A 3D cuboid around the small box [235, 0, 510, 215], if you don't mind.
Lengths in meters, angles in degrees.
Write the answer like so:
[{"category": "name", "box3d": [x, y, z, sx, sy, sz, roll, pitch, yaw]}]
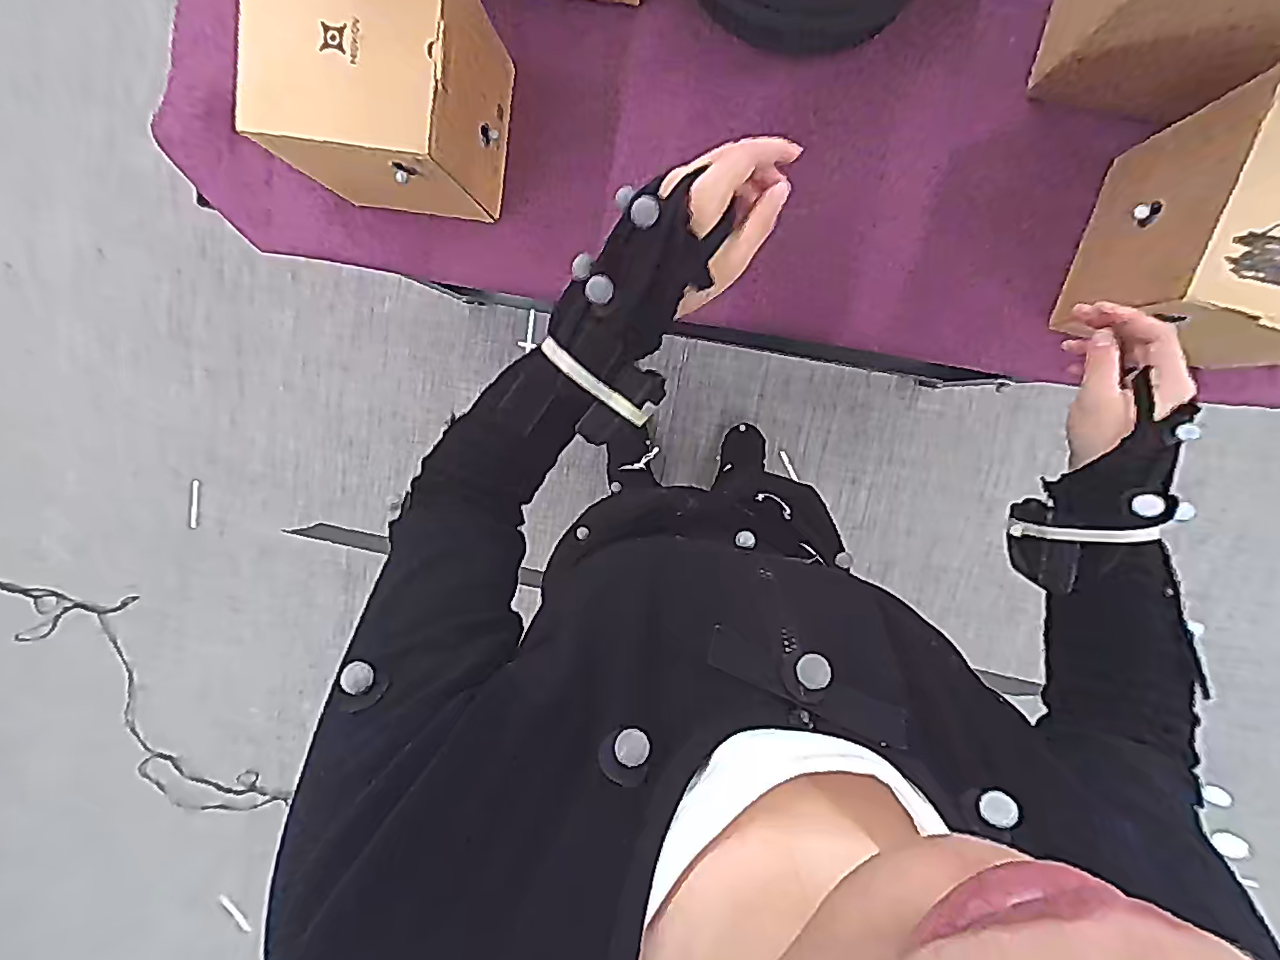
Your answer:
[{"category": "small box", "box3d": [-0.244, -0.378, 0.527, 0.179, 0.176, 0.168, 8, 98, 3]}]
